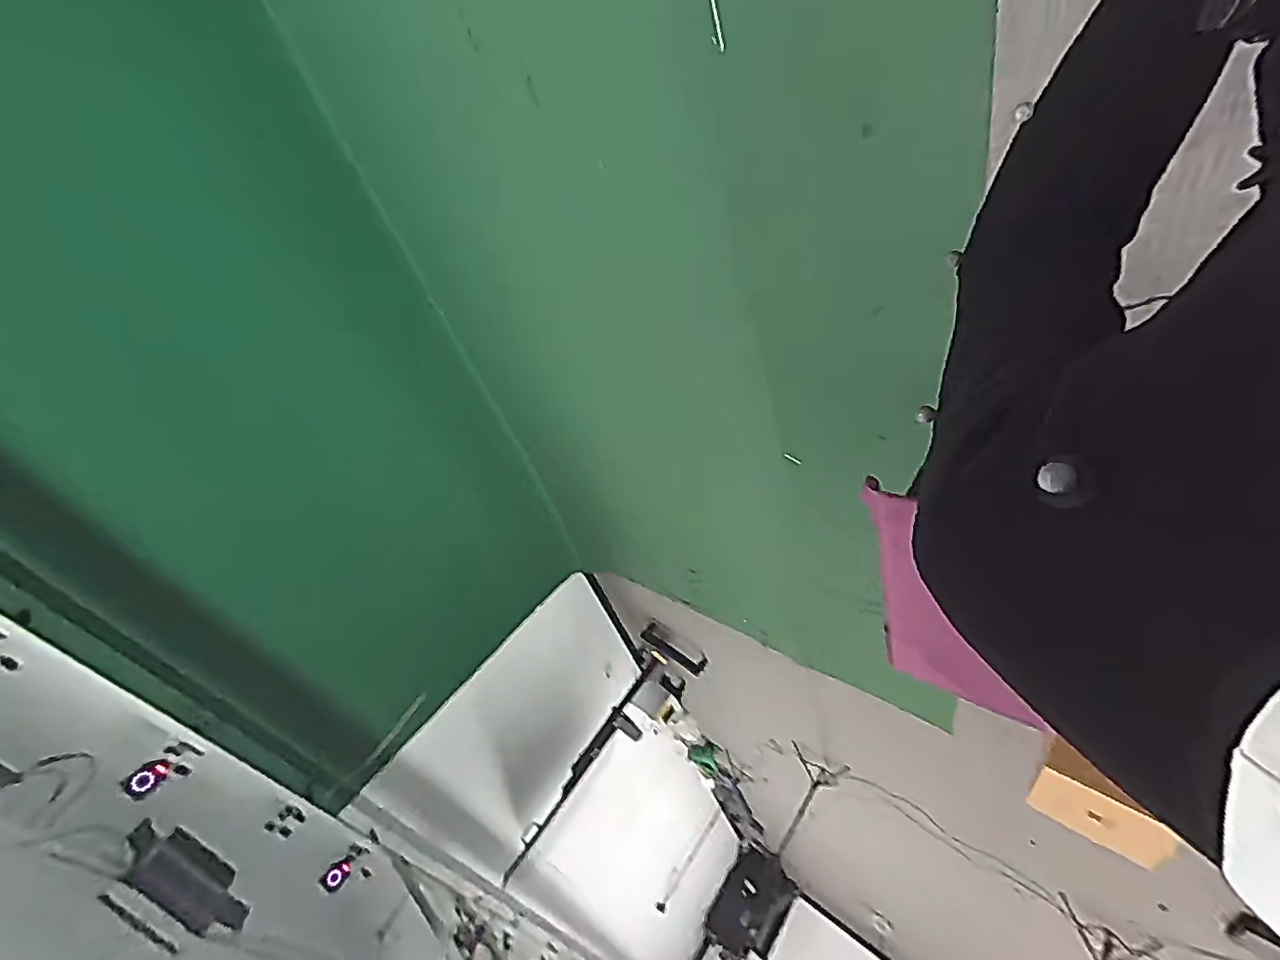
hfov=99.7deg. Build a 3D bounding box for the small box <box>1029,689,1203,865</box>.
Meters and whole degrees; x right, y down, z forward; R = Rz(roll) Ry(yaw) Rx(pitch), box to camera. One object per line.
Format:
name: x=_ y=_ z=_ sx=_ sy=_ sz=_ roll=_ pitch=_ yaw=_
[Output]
small box: x=0.795 y=0.490 z=0.909 sx=0.179 sy=0.176 sz=0.168 roll=20 pitch=142 yaw=37
